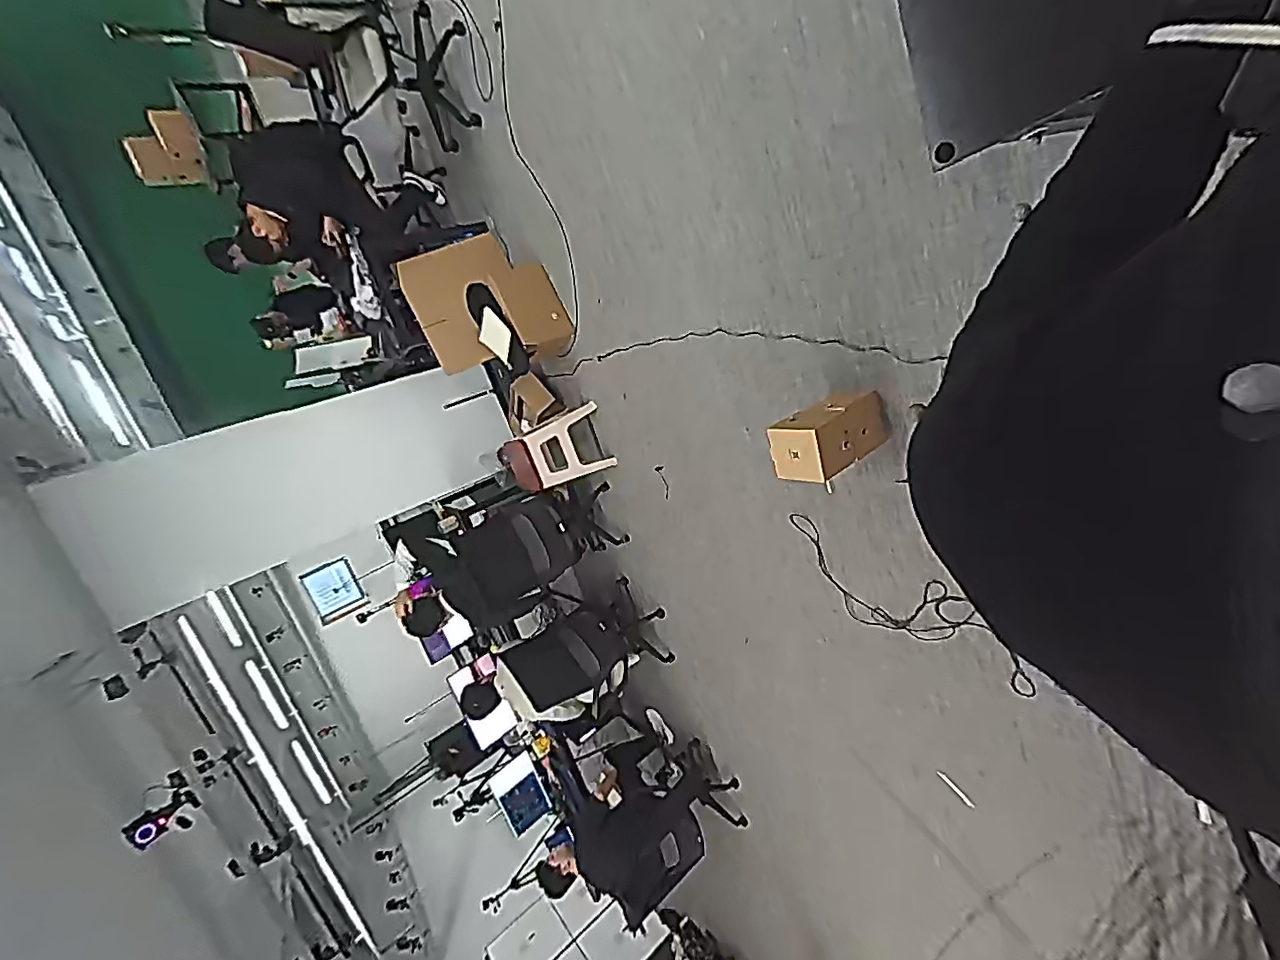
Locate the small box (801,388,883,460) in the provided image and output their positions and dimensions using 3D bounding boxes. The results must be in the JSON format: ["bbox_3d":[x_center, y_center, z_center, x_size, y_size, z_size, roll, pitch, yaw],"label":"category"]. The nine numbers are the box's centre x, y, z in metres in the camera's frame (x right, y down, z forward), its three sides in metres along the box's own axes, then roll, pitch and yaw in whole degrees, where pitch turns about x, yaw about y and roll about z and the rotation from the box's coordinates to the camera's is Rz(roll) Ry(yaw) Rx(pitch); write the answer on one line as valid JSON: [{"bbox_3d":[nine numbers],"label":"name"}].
[{"bbox_3d":[0.639,-0.174,1.708,0.168,0.176,0.179,1,114,56],"label":"small box"}]

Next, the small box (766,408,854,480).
[{"bbox_3d":[0.512,-0.113,1.625,0.179,0.176,0.168,7,119,53],"label":"small box"}]
